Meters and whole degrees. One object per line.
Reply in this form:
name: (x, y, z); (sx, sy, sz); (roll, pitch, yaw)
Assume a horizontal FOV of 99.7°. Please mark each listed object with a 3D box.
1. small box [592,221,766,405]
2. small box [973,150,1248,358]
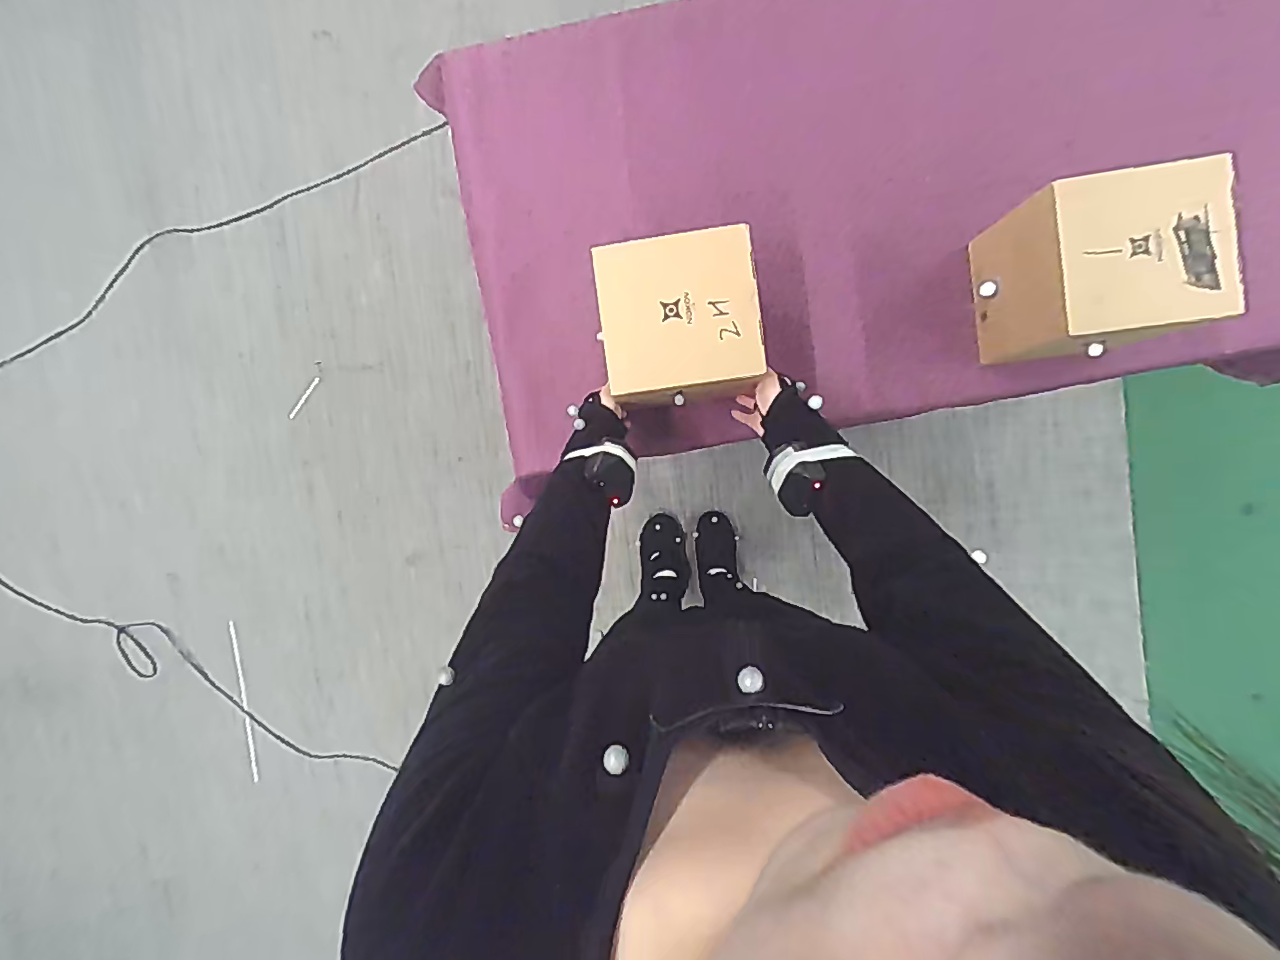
small box: (0.047, -0.190, 0.665); (0.179, 0.176, 0.168); (-7, 92, 4)
small box: (0.527, -0.246, 0.630); (0.179, 0.176, 0.168); (-7, 92, 5)
